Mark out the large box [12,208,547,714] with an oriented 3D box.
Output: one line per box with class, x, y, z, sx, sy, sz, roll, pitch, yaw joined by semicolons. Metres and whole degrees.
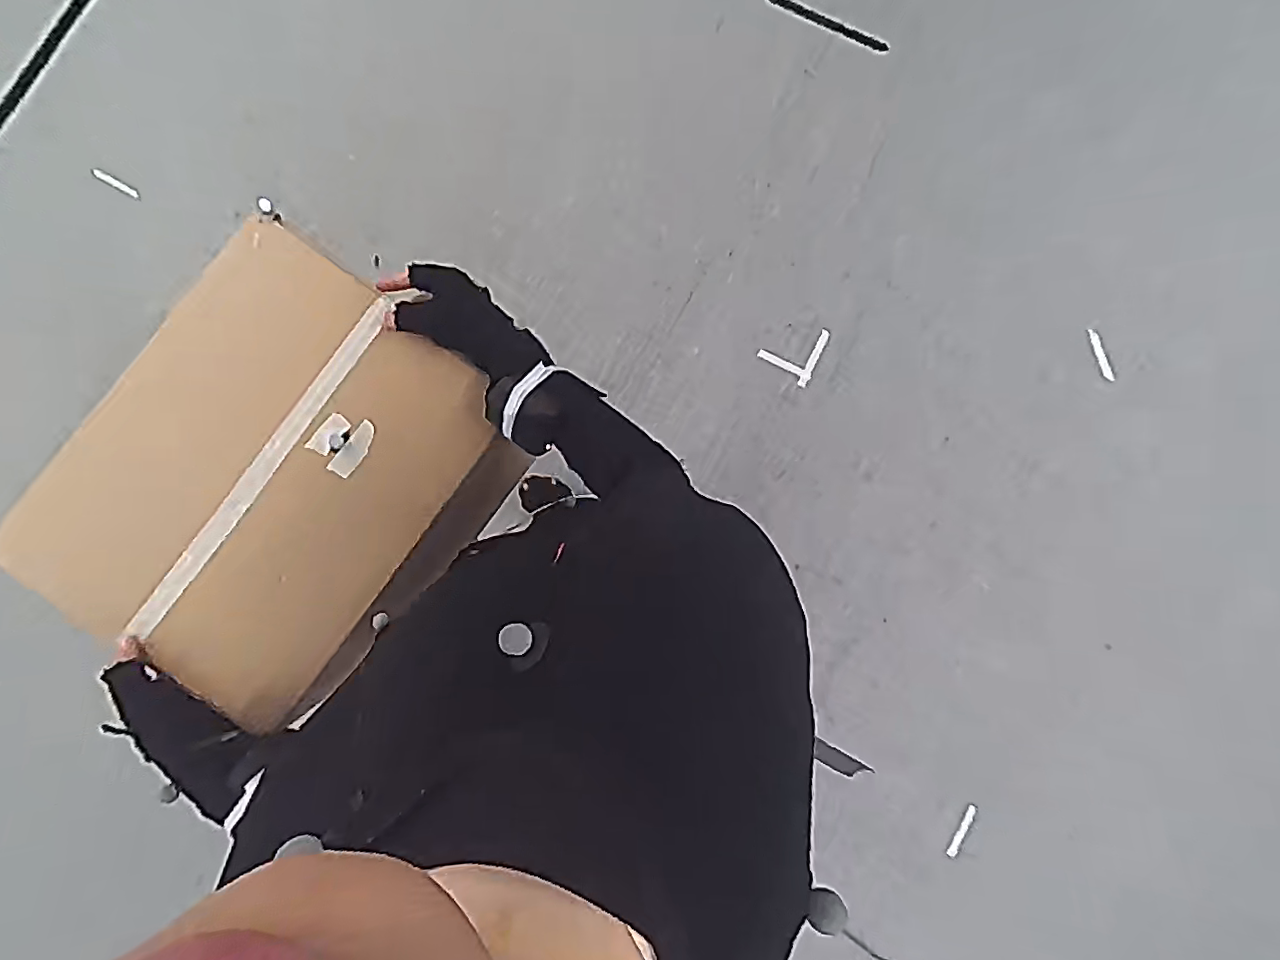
large box;-0.365;-0.015;0.671;0.320;0.320;0.408;36;85;-3
